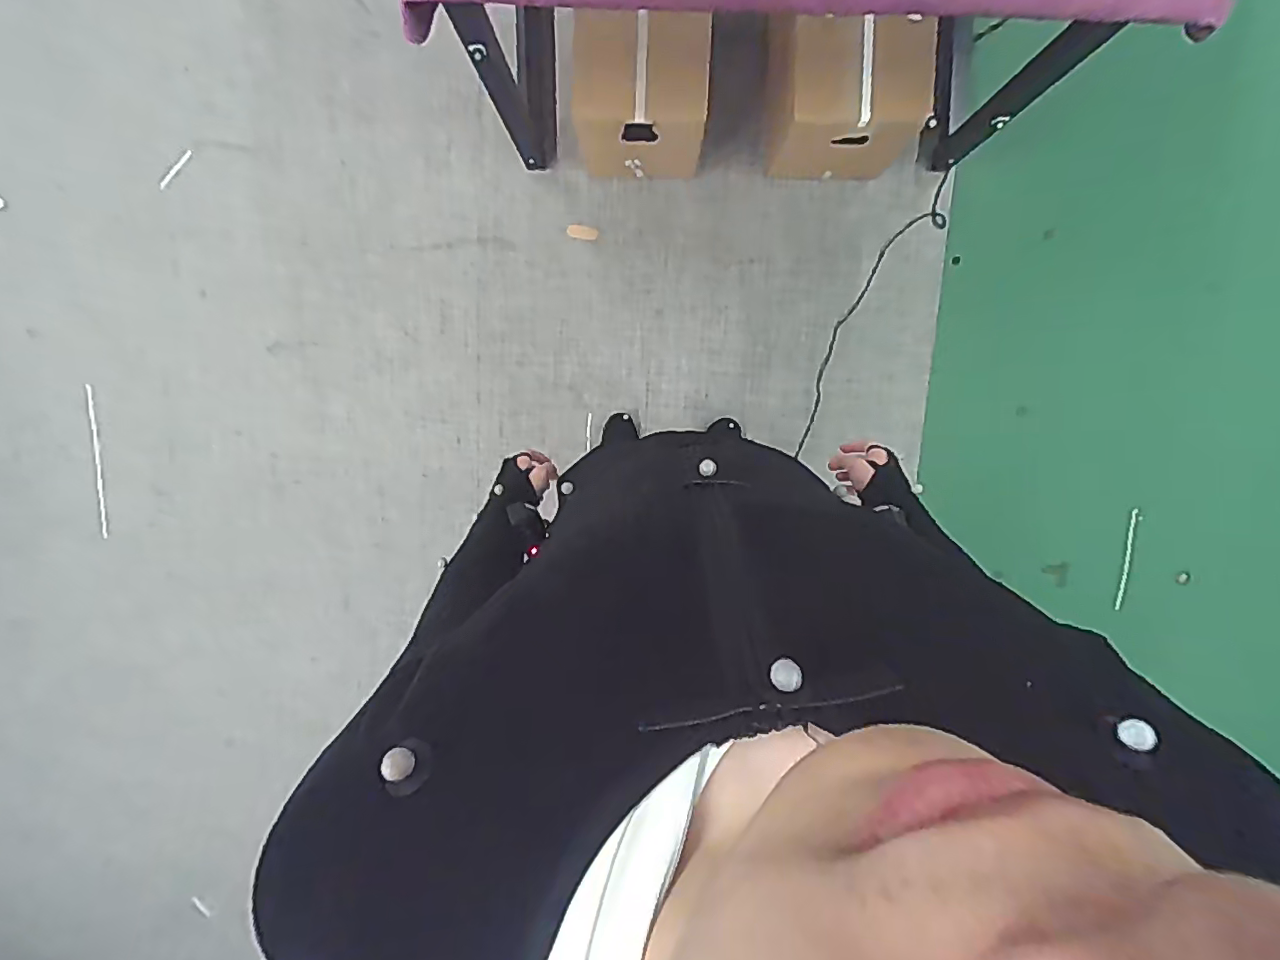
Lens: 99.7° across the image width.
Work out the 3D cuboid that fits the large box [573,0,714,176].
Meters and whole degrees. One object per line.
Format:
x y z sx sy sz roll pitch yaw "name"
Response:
0.012 -1.029 1.344 0.320 0.320 0.408 2 96 1 "large box"
